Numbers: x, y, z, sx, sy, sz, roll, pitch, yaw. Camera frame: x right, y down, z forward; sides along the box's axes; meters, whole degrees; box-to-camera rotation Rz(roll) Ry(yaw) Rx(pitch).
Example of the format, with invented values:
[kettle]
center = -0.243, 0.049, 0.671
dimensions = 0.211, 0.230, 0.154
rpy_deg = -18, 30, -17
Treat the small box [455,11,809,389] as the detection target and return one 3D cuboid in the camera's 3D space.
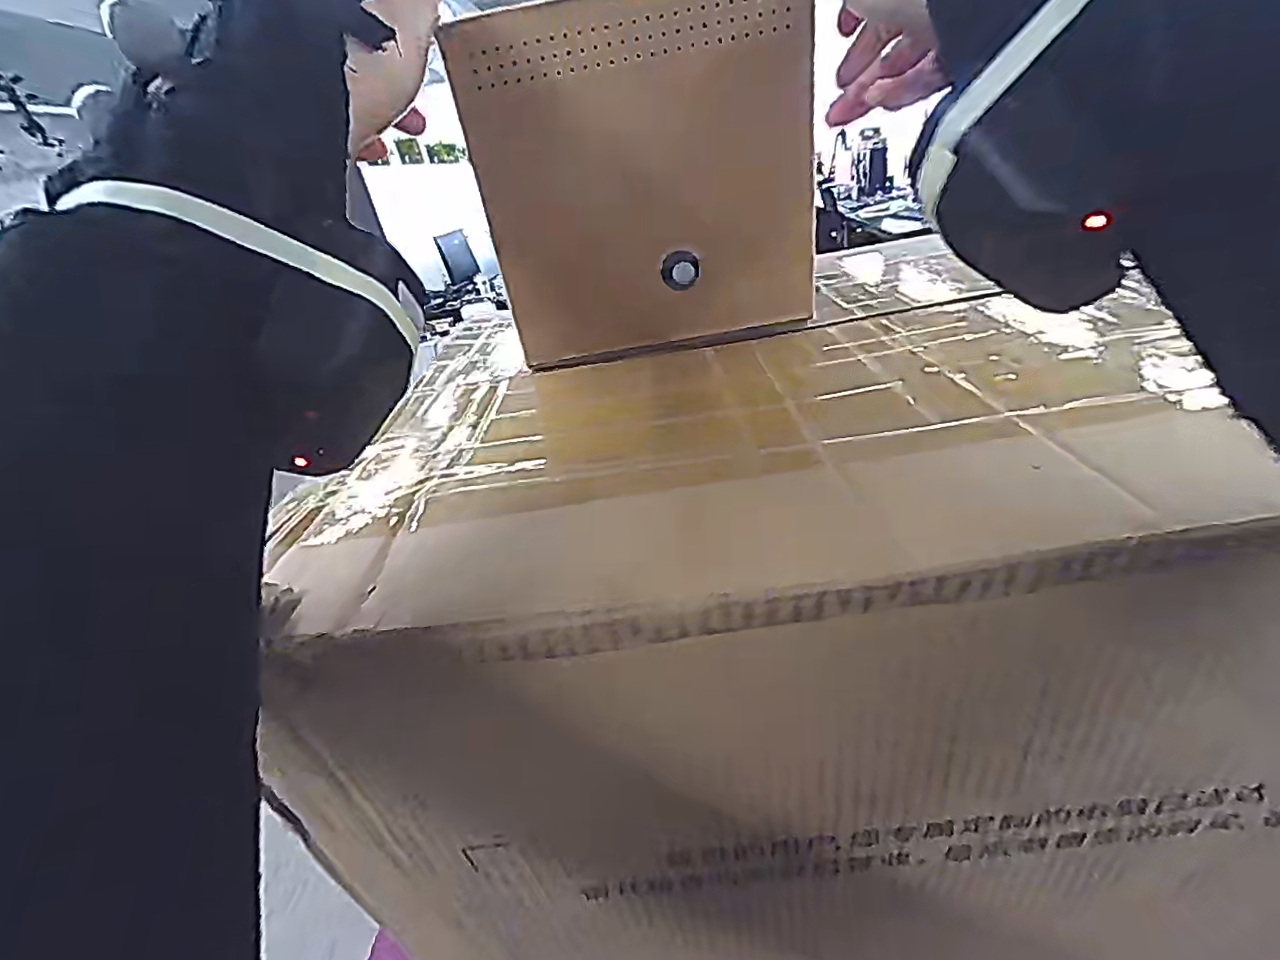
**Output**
[small box]
center = 0.002, -0.181, 0.361
dimensions = 0.179, 0.176, 0.168
rpy_deg = -9, 30, 2
